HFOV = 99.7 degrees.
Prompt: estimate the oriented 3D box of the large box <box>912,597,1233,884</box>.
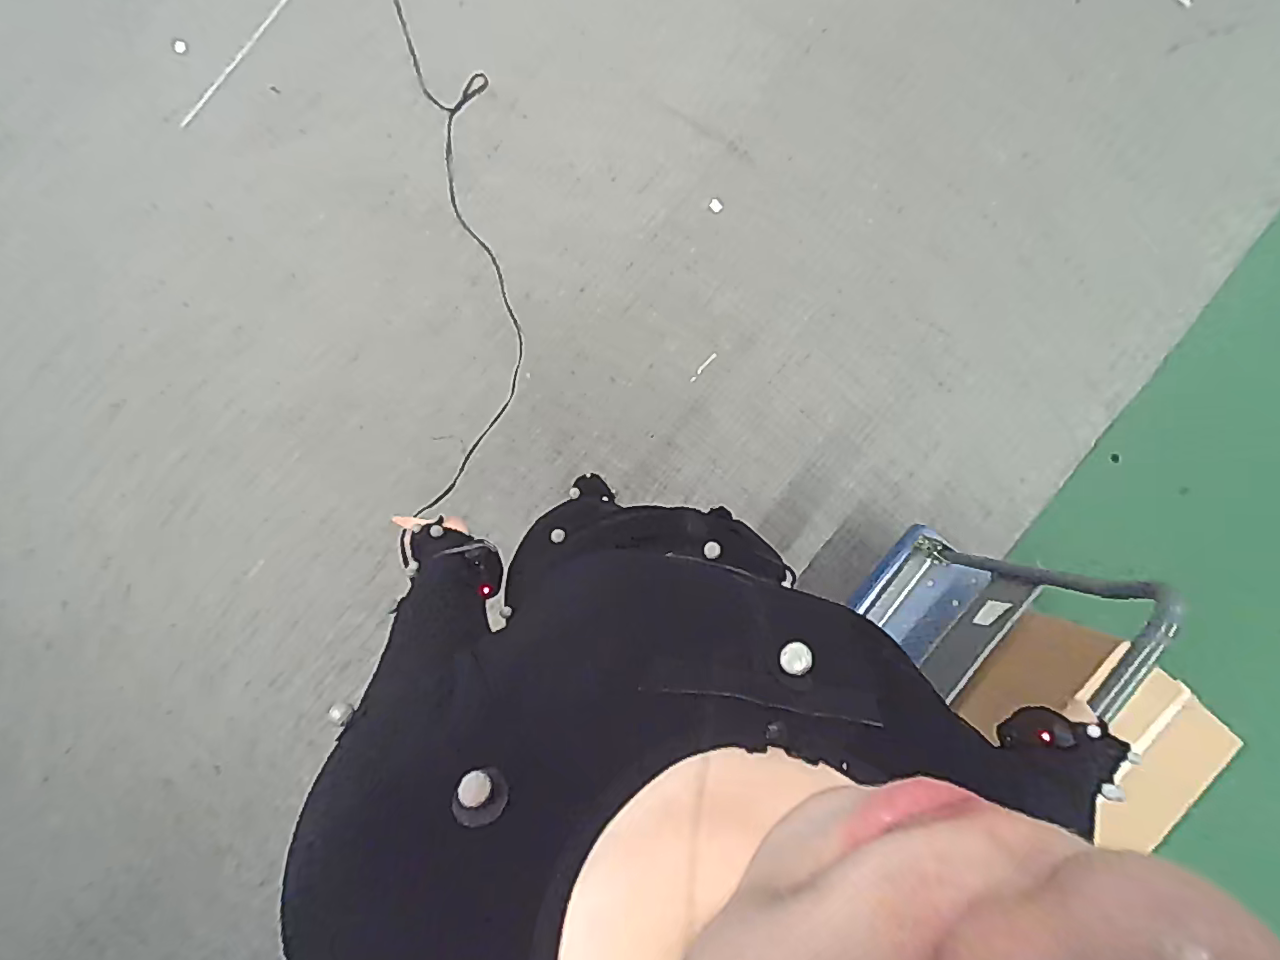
[{"bbox_3d":[0.907,0.531,1.190,0.320,0.320,0.408,41,90,0],"label":"large box"}]
